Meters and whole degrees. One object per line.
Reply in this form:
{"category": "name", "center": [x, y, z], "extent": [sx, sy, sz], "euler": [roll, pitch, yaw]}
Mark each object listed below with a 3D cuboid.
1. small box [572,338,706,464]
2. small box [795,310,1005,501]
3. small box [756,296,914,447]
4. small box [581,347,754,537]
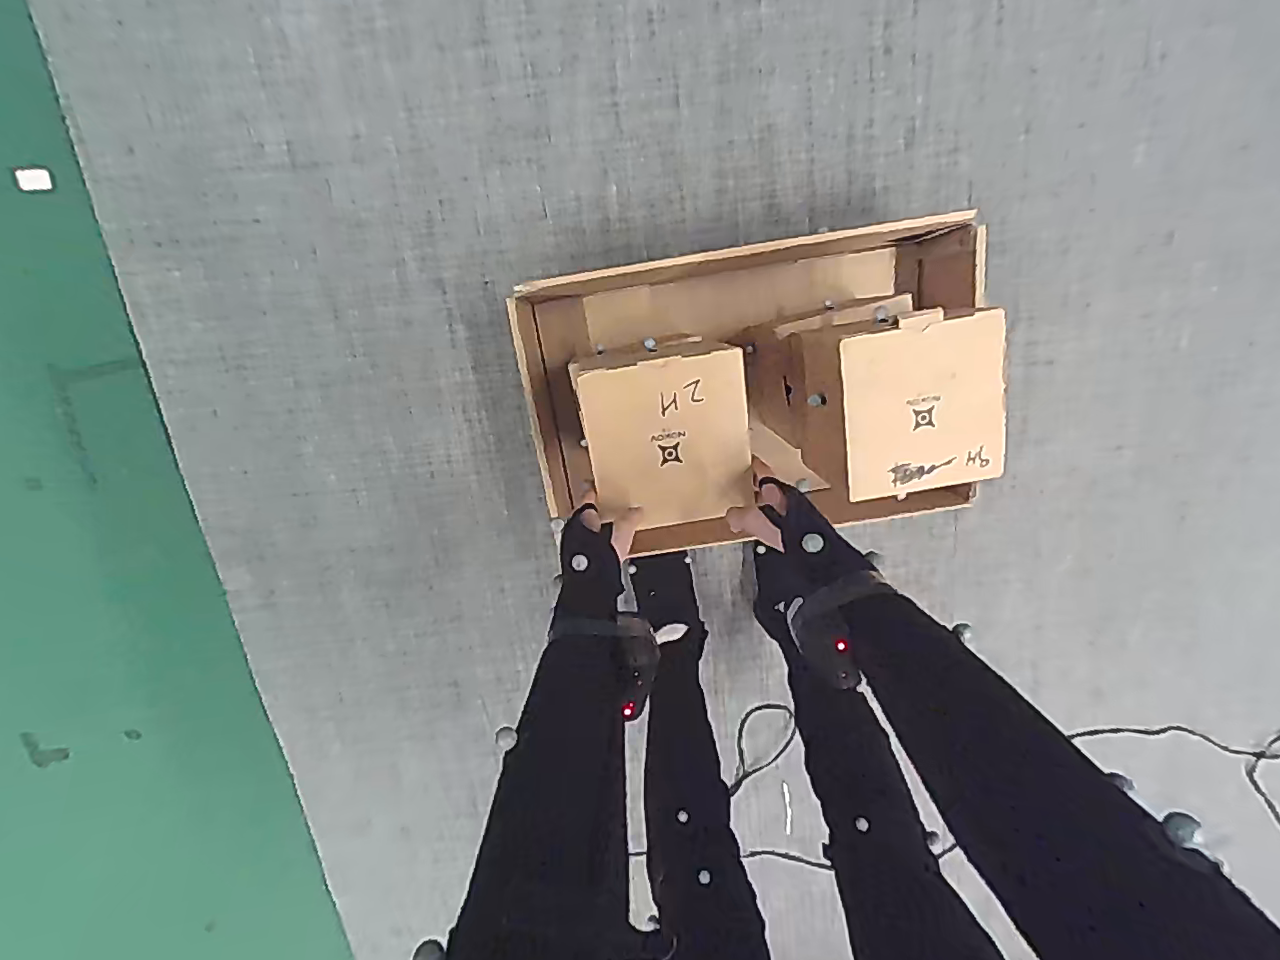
{"category": "small box", "center": [0.008, -0.107, 0.787], "extent": [0.179, 0.176, 0.168], "euler": [-13, 106, -1]}
{"category": "small box", "center": [0.288, -0.091, 0.629], "extent": [0.168, 0.176, 0.179], "euler": [-9, 105, 2]}
{"category": "small box", "center": [0.274, -0.157, 0.778], "extent": [0.179, 0.176, 0.168], "euler": [-14, 105, 2]}
{"category": "small box", "center": [0.028, -0.054, 0.631], "extent": [0.168, 0.176, 0.179], "euler": [-9, 106, -2]}
